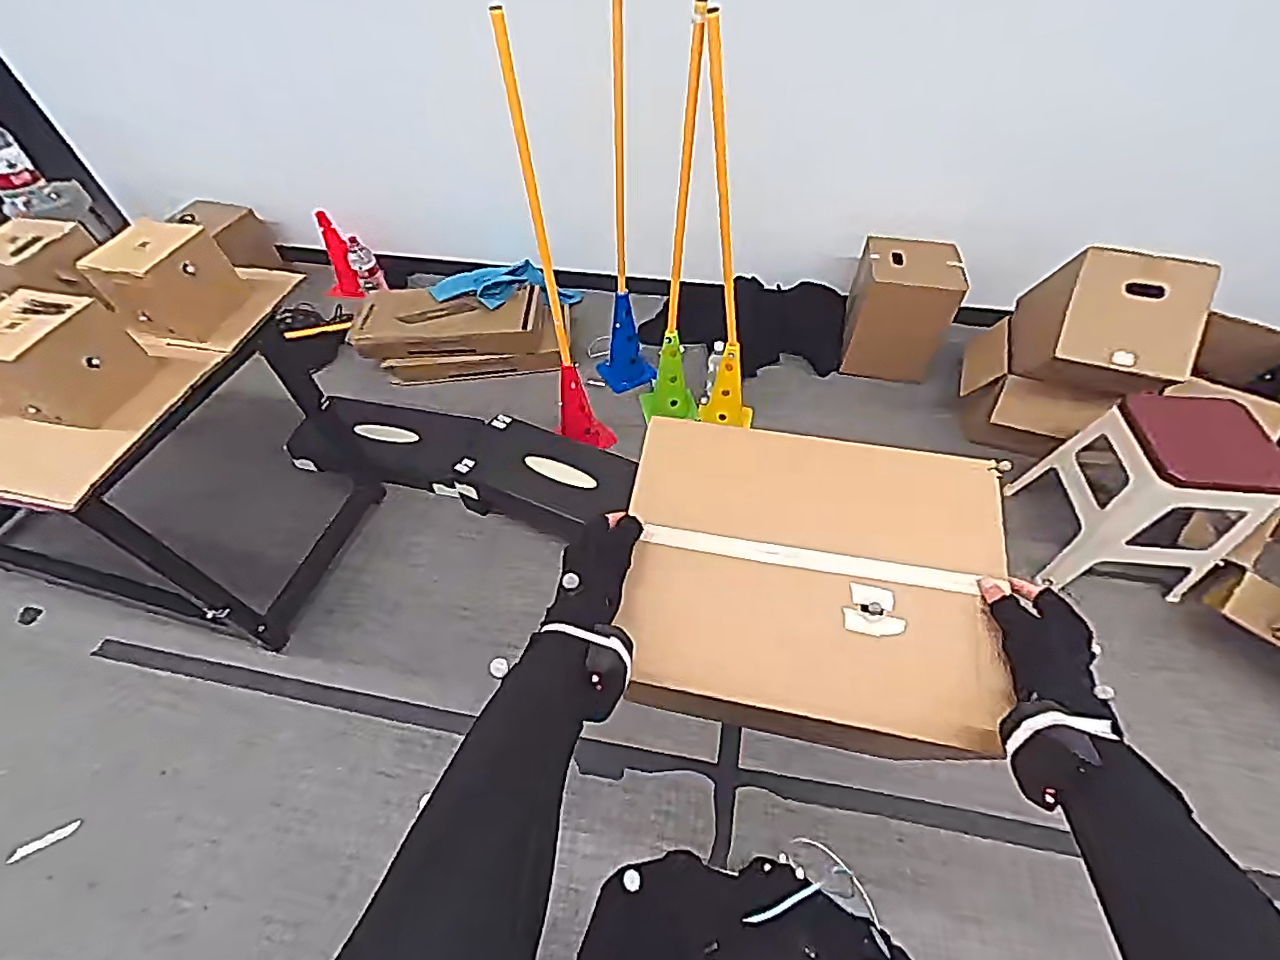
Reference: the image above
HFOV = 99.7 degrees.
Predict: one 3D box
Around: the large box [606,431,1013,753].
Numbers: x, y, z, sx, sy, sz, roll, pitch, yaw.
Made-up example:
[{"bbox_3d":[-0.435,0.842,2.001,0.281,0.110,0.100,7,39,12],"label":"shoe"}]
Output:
[{"bbox_3d":[0.190,0.162,0.730,0.408,0.320,0.320,8,64,8],"label":"large box"}]
